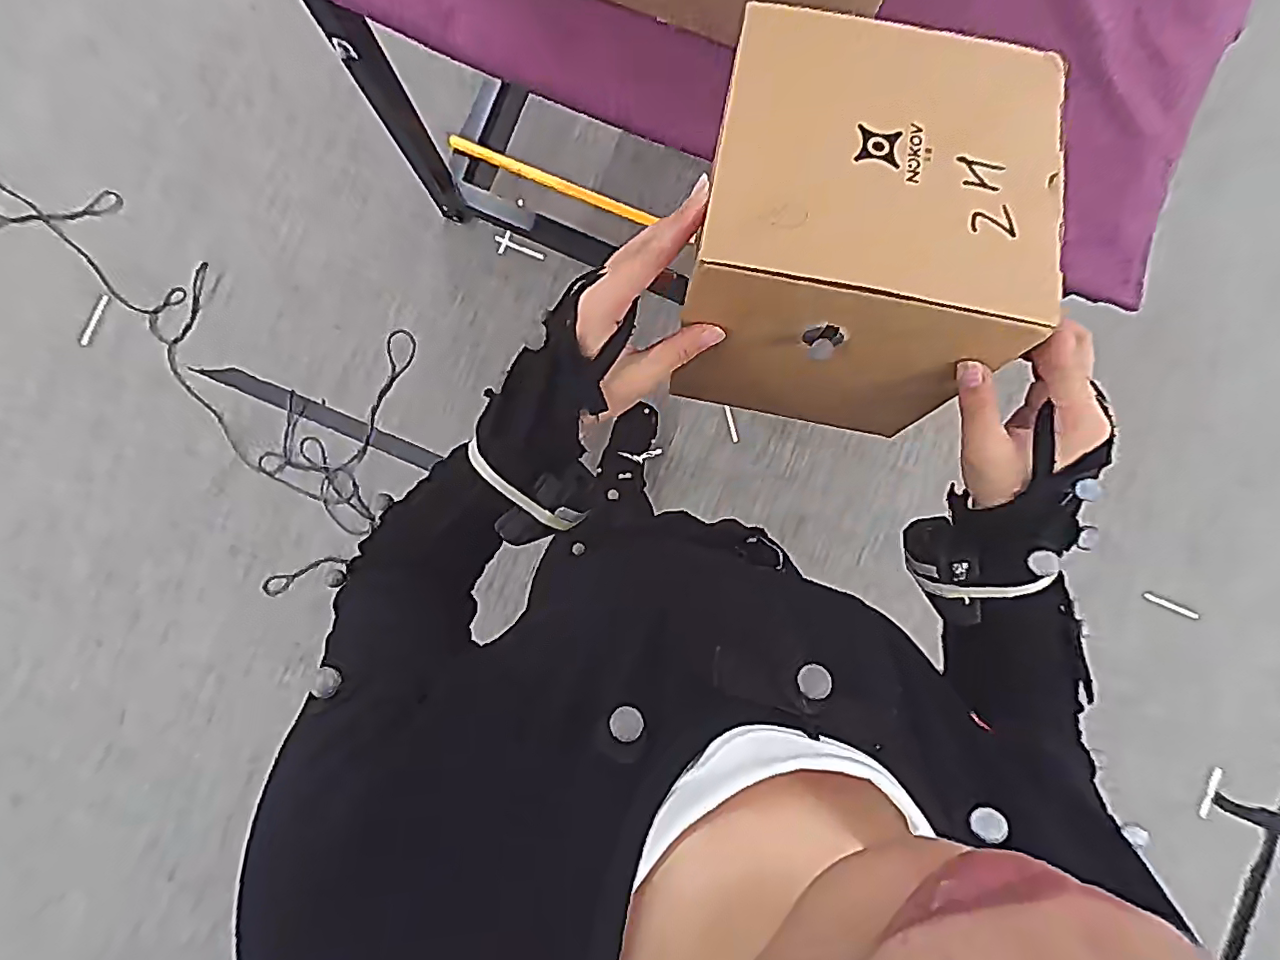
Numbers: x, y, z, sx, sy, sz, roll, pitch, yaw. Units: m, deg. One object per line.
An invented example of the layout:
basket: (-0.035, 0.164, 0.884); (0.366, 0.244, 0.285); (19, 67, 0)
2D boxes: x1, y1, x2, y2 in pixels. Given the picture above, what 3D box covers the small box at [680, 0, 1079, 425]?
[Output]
small box: (0.128, -0.148, 0.346); (0.179, 0.176, 0.168); (11, 77, 1)
